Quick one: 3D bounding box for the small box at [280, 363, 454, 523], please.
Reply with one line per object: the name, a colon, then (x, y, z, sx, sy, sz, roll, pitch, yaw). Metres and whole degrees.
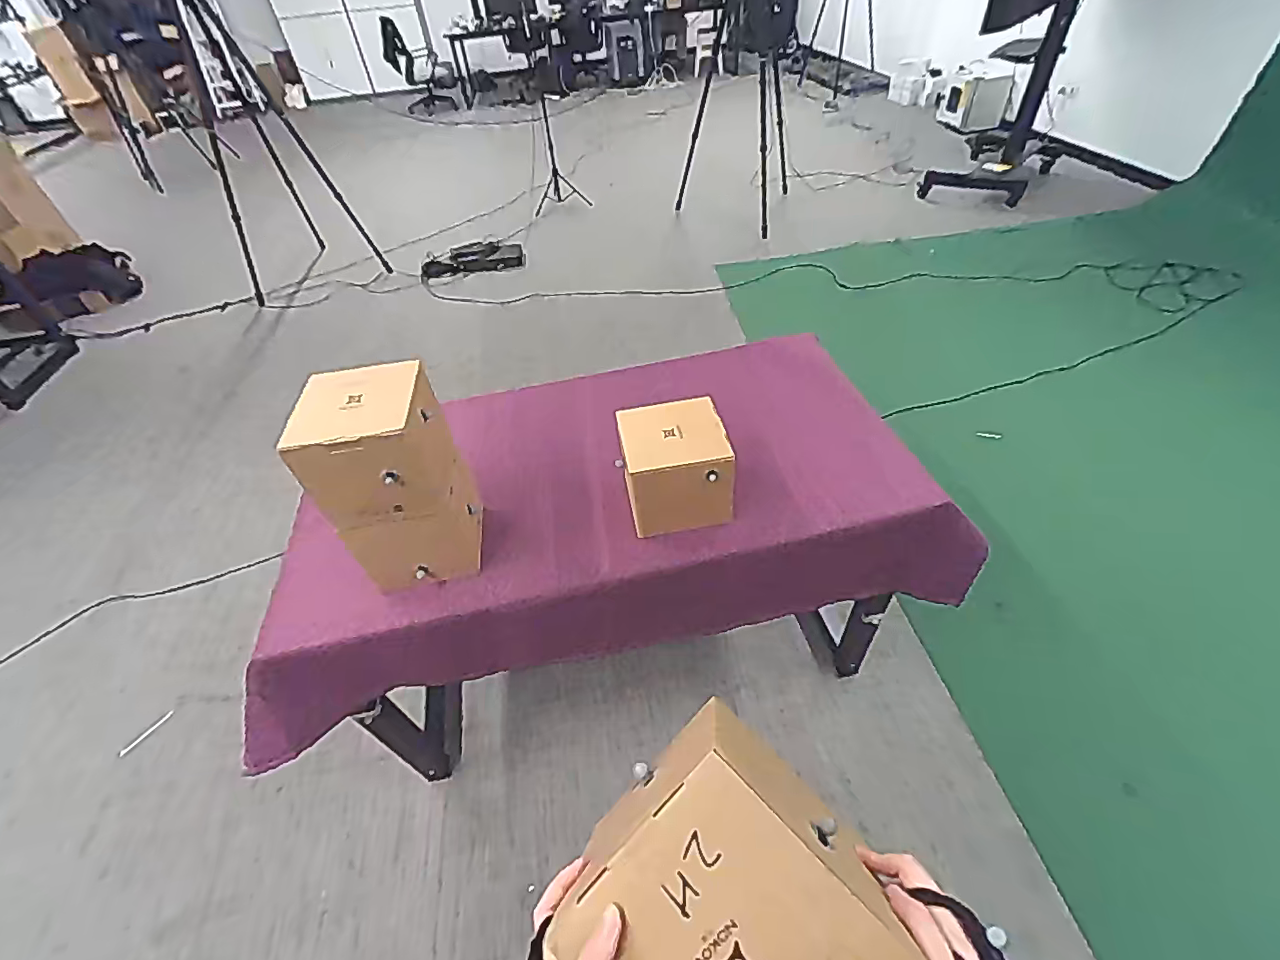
small box: (-0.396, -0.050, 0.822, 0.168, 0.176, 0.179, -9, 45, -3)

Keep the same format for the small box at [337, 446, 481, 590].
small box: (-0.382, 0.068, 0.935, 0.179, 0.176, 0.168, -11, 45, -4)

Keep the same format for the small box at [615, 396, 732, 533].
small box: (0.060, -0.024, 0.971, 0.179, 0.176, 0.168, -10, 46, -3)
